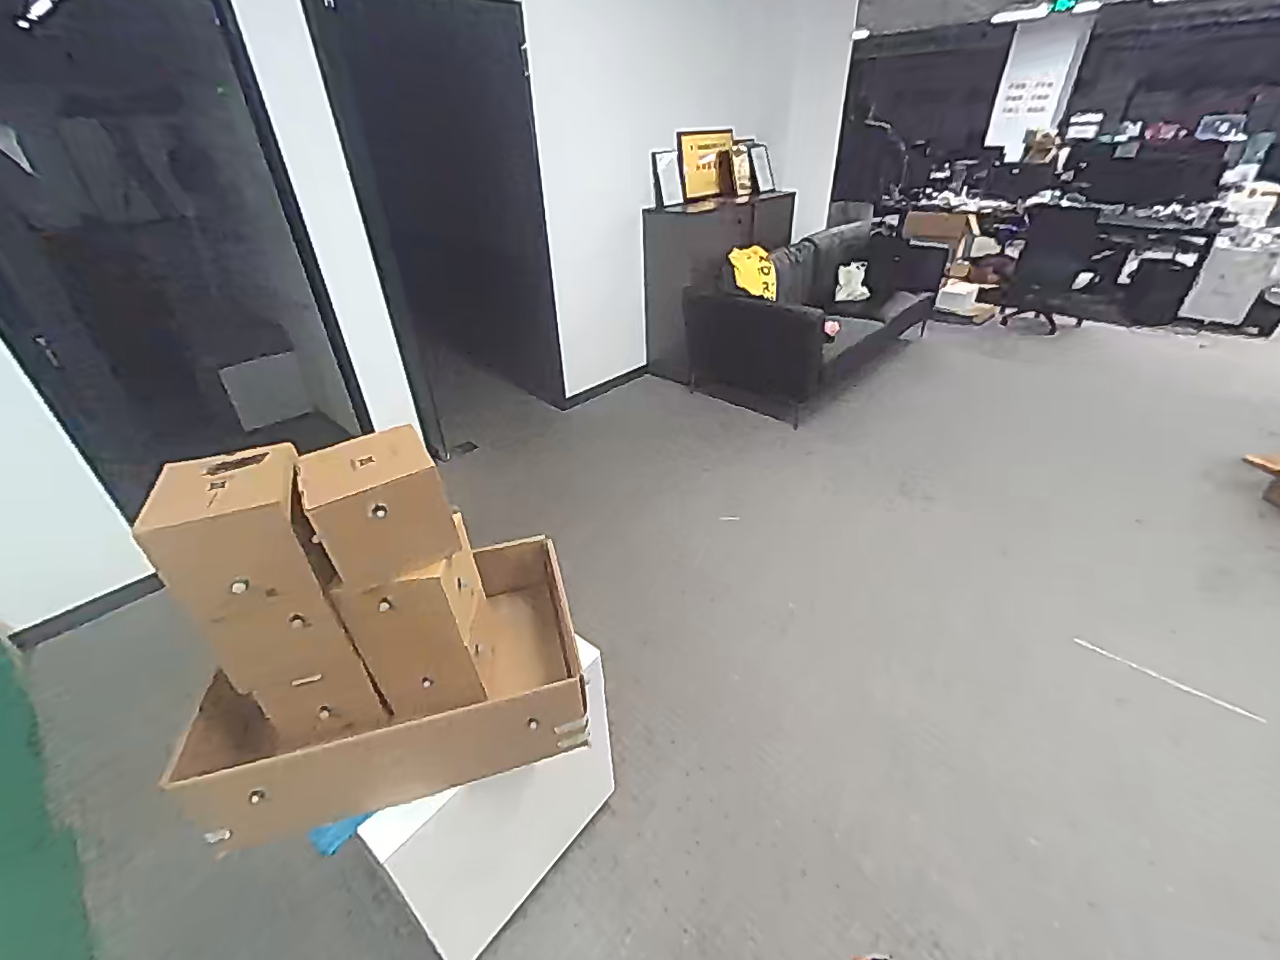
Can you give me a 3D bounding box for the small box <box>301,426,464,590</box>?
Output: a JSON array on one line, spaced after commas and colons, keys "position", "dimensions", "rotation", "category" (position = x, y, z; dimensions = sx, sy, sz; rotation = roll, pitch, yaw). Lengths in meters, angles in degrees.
[{"position": [-0.399, 0.042, 0.847], "dimensions": [0.179, 0.176, 0.168], "rotation": [-22, 37, -23], "category": "small box"}]
